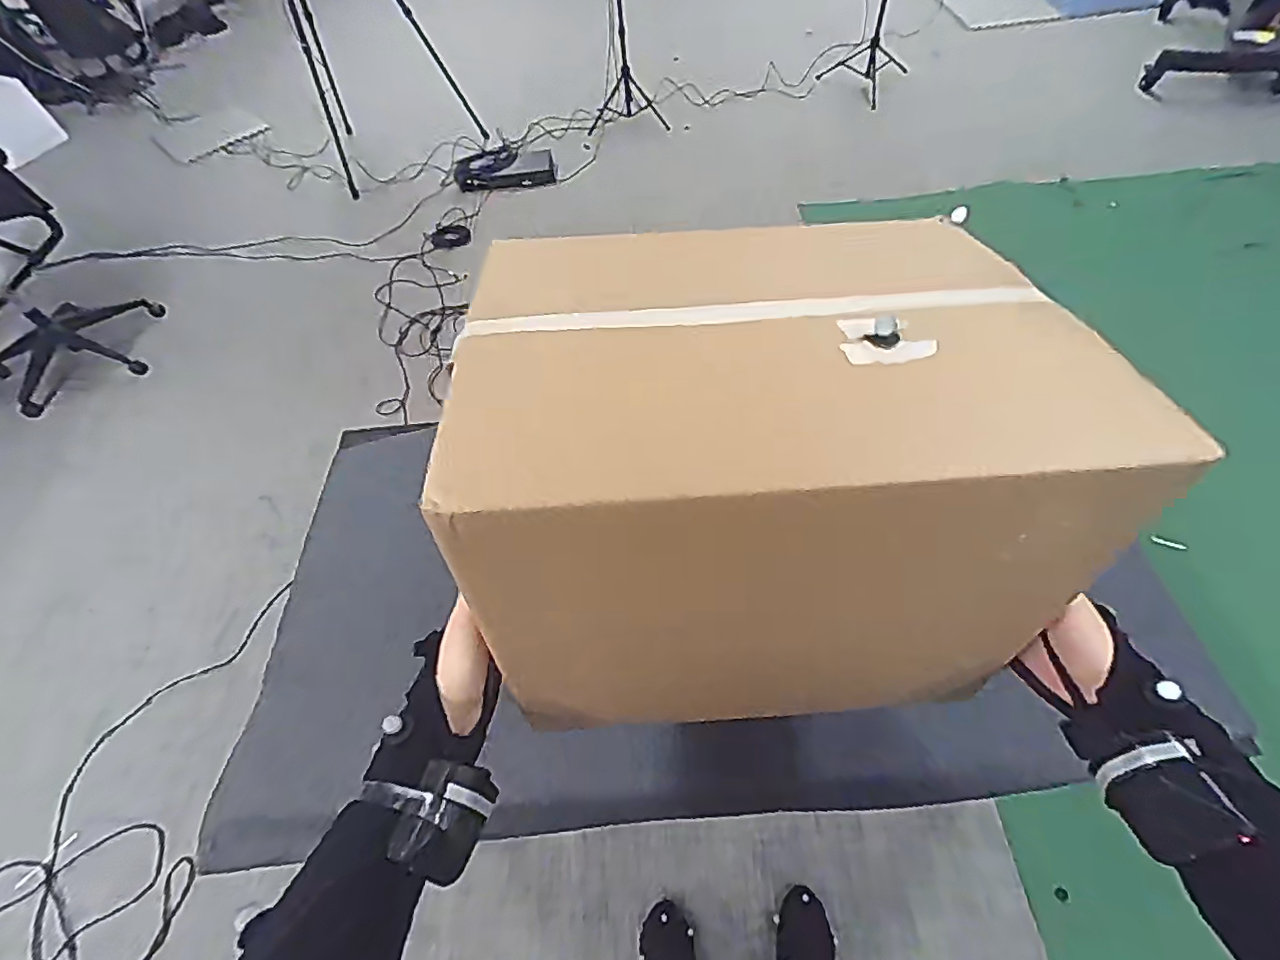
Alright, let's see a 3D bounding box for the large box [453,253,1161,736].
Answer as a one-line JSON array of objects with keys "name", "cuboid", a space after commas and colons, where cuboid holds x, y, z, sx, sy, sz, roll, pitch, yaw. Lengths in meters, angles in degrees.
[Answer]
[{"name": "large box", "cuboid": [0.085, 0.011, 0.501, 0.408, 0.320, 0.320, -3, 47, -2]}]
